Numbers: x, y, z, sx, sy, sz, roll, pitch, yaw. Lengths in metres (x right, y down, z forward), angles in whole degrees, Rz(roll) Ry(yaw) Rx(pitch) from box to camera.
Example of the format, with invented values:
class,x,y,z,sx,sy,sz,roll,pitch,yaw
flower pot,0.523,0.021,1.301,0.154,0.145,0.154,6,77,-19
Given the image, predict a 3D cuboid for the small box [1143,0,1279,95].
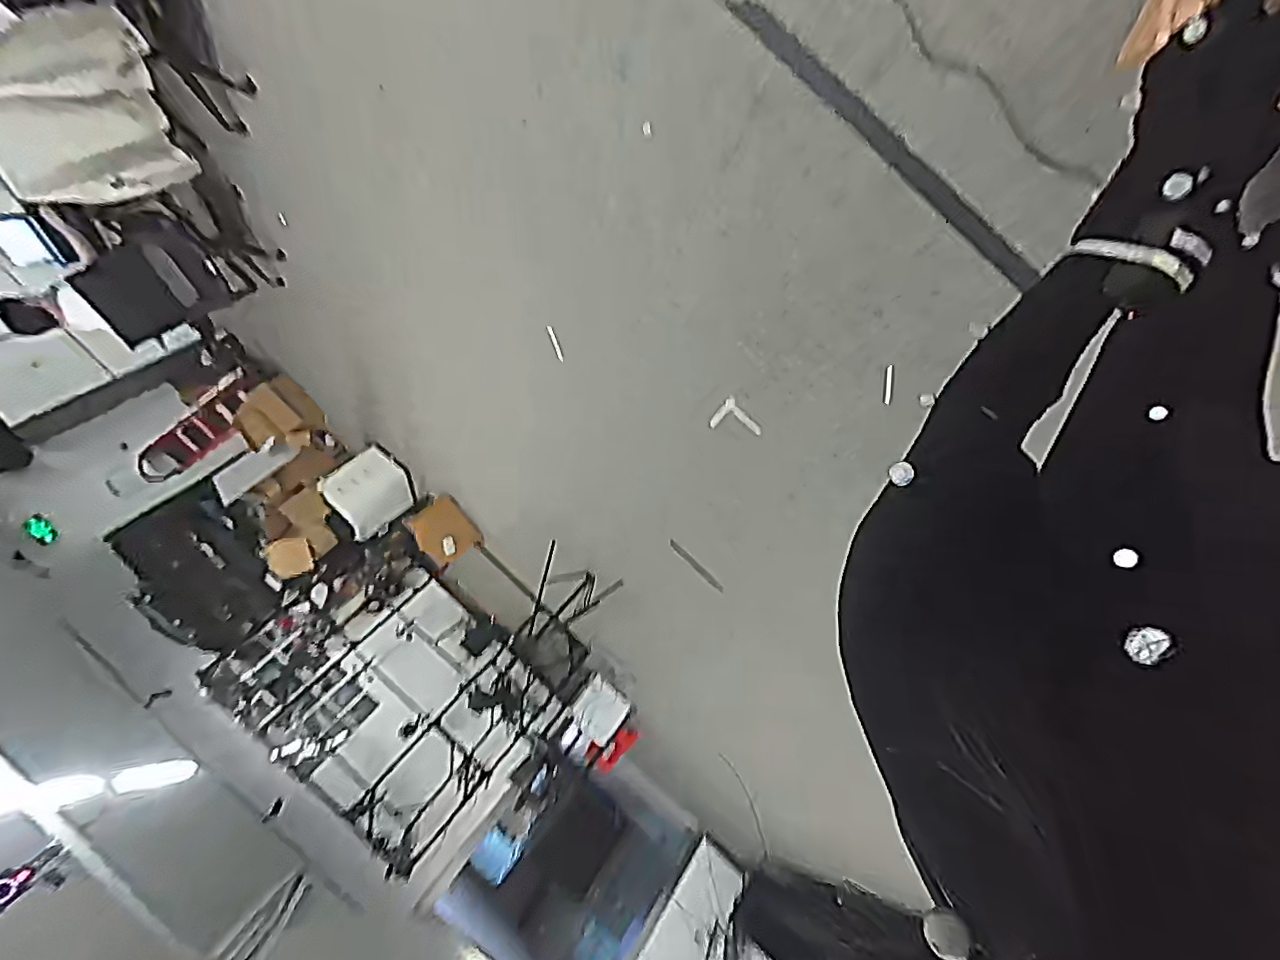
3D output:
class,x,y,z,sx,sy,sz,roll,pitch,yaw
small box,0.524,-0.411,0.376,0.168,0.176,0.179,19,113,5
